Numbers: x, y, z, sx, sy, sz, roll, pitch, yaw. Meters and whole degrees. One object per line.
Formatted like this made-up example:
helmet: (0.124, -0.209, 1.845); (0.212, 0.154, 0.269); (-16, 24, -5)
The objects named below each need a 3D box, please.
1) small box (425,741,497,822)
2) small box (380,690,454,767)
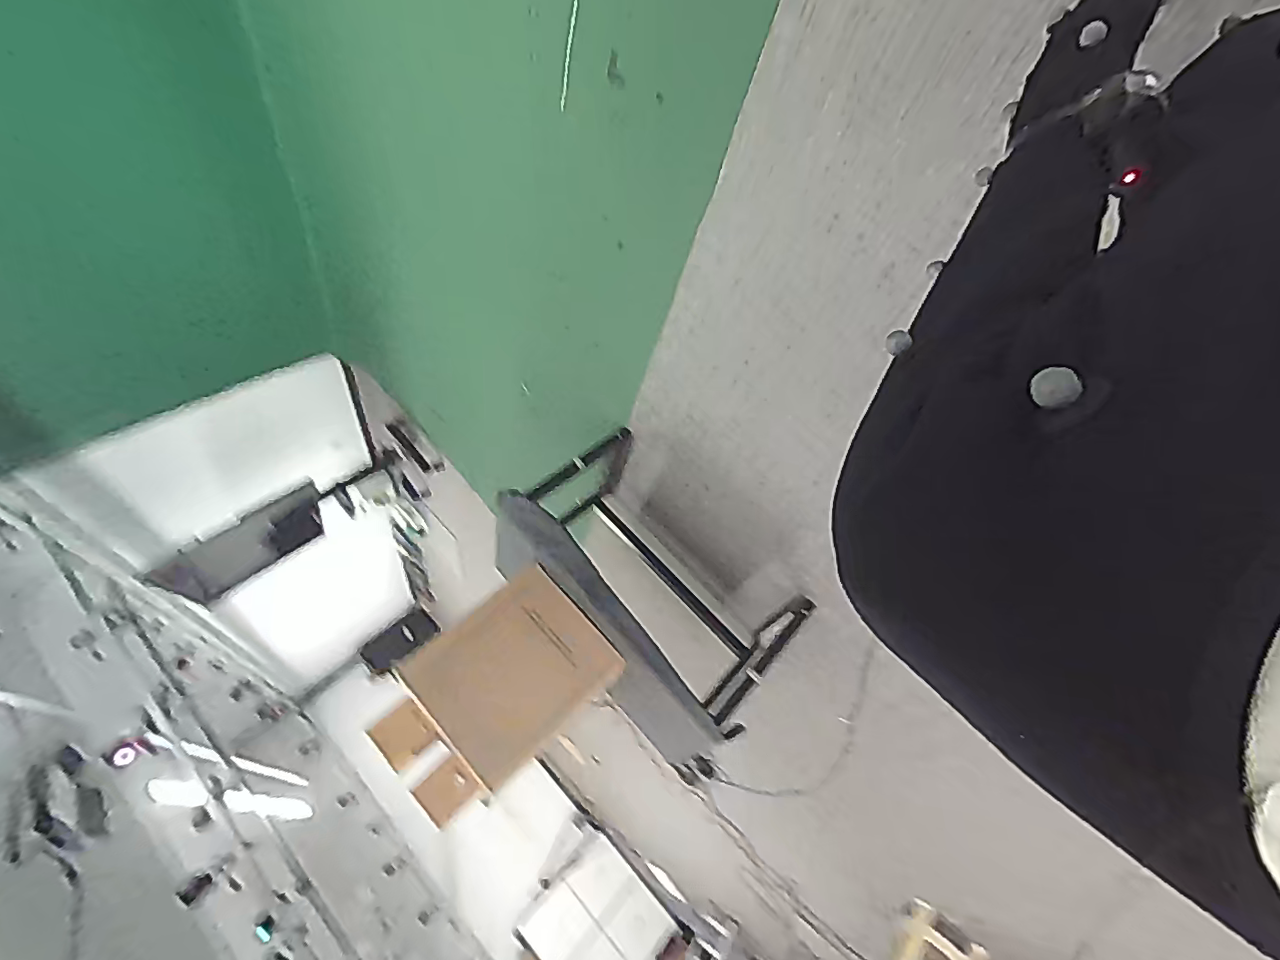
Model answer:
small box: (-0.606, 1.027, 1.842); (0.168, 0.176, 0.179); (41, 144, 14)
small box: (-0.782, 0.878, 1.915); (0.168, 0.176, 0.179); (41, 146, 19)
